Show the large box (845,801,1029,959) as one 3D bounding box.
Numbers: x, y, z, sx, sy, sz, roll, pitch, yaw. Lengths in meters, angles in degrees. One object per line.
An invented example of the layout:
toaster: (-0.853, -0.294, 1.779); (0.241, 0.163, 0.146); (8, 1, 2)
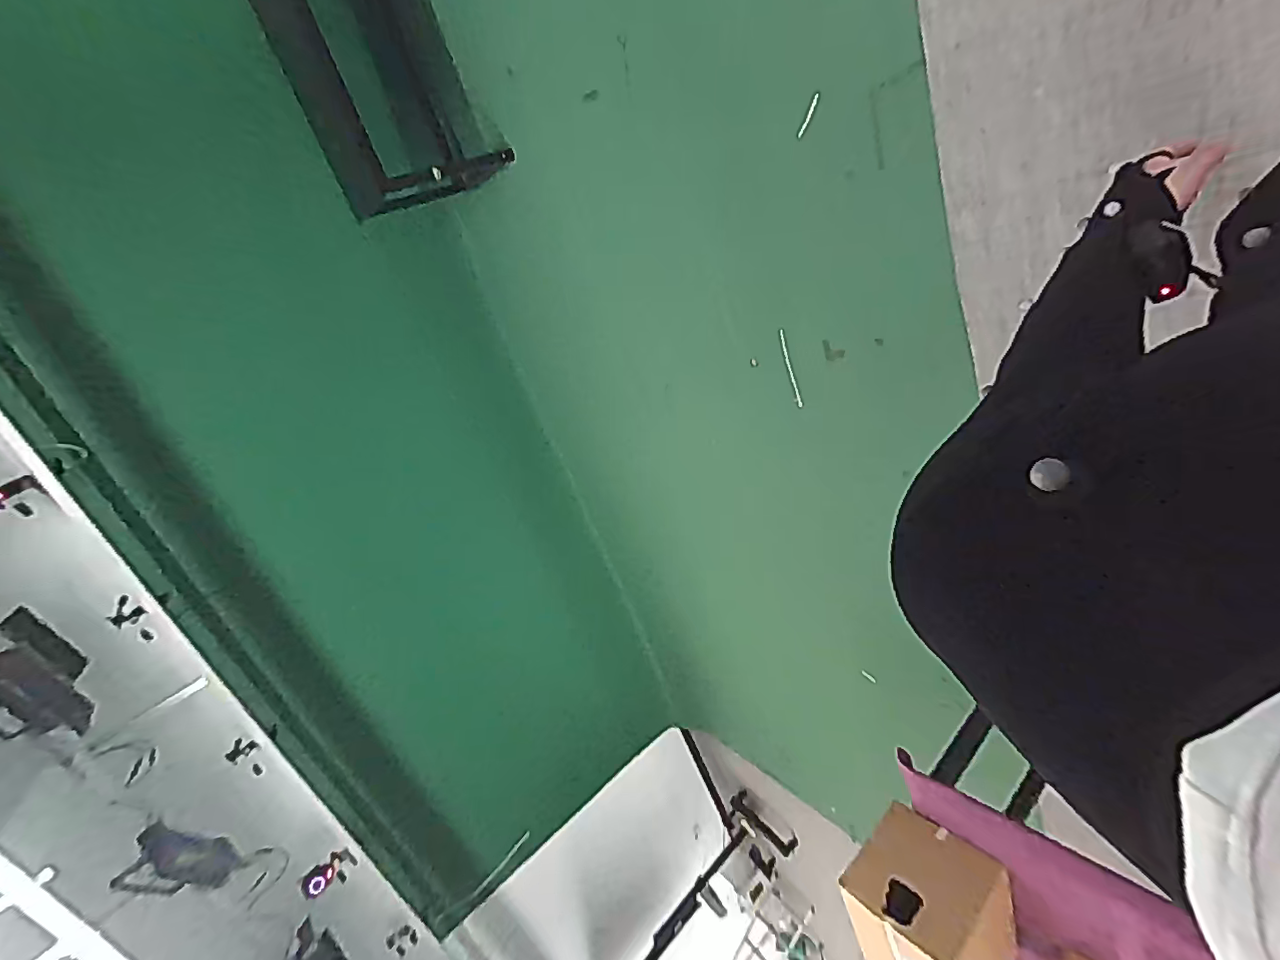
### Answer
large box: (0.839, 1.225, 1.516); (0.320, 0.320, 0.408); (8, 125, 53)
